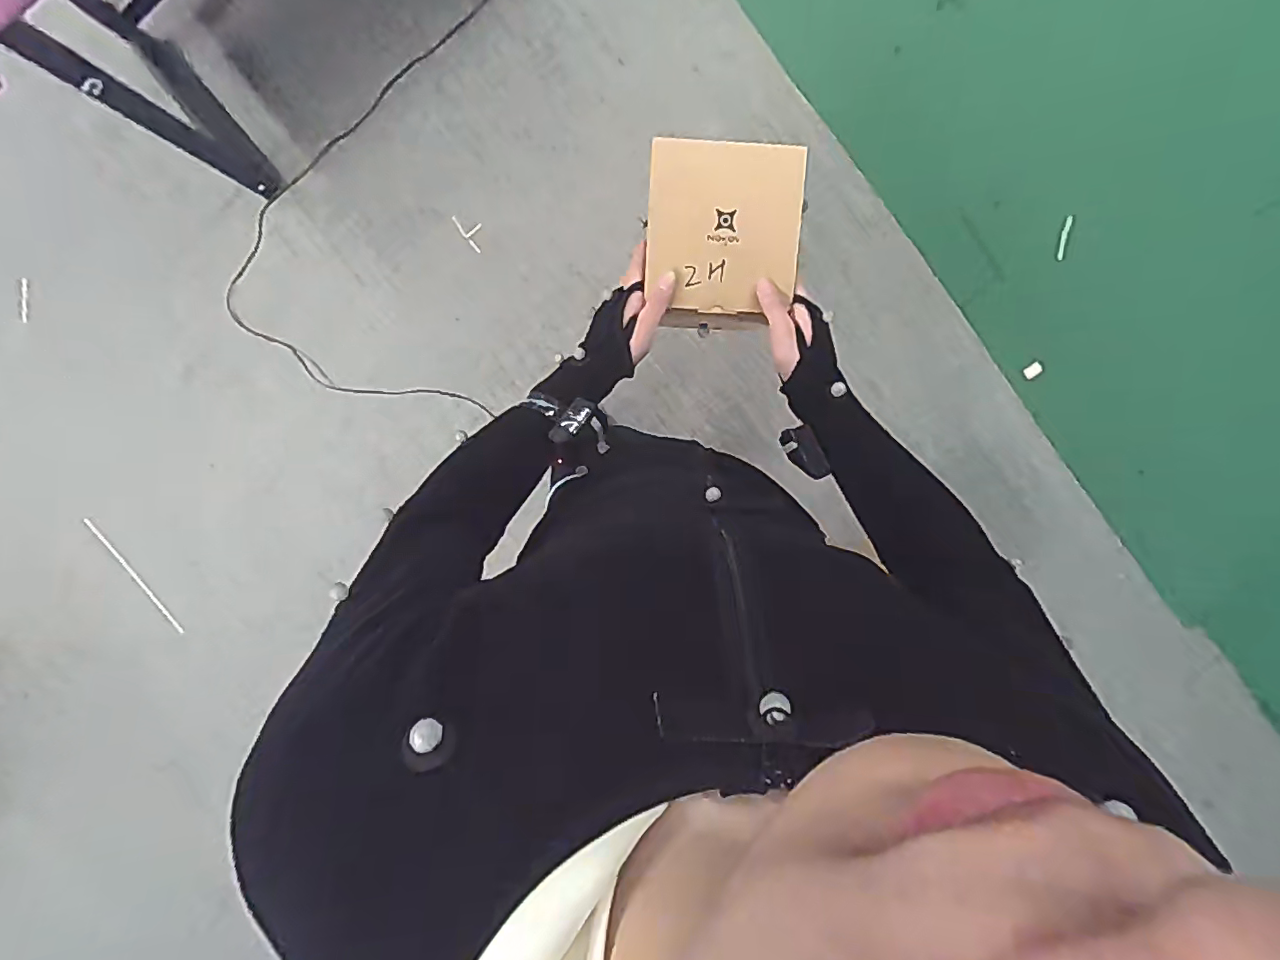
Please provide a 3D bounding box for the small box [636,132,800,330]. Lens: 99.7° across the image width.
[{"bbox_3d":[0.082,-0.285,0.656,0.168,0.176,0.179,3,99,0],"label":"small box"}]
